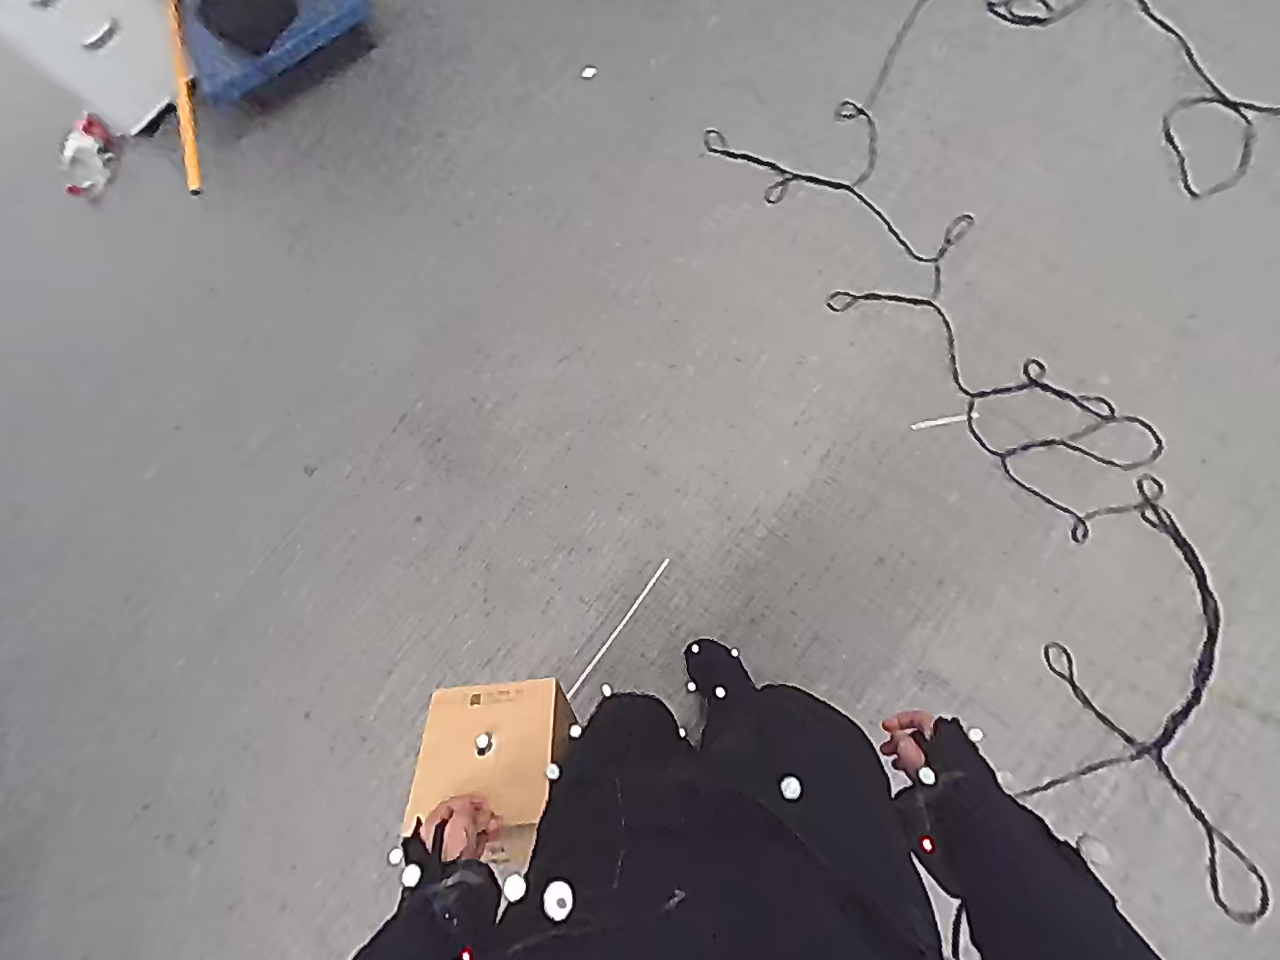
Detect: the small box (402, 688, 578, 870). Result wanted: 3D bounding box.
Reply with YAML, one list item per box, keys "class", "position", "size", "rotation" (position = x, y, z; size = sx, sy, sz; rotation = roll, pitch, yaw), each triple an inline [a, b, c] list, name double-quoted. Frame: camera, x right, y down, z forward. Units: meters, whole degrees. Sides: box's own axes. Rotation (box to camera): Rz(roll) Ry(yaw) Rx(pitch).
- class: "small box"
  position: [-0.178, 0.383, 0.704]
  size: [0.168, 0.179, 0.176]
  rotation: [-6, 44, 3]
